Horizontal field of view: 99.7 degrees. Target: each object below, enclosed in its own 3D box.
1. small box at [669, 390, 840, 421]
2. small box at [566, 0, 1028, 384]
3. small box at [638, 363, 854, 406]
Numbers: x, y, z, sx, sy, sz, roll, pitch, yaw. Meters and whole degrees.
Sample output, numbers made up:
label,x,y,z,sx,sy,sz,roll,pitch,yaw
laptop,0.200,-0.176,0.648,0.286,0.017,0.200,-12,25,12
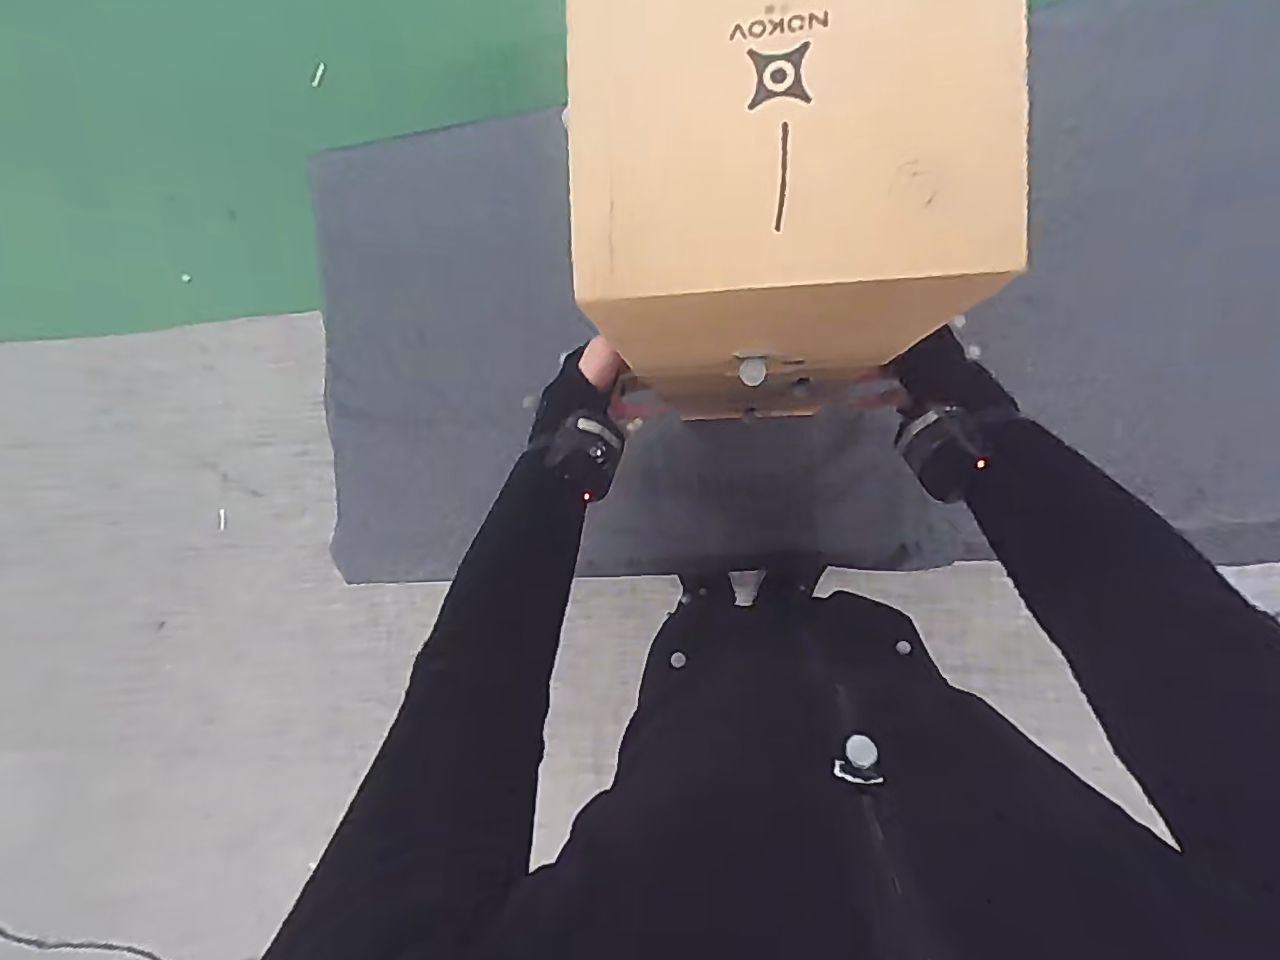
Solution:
label,x,y,z,sx,sy,sz,roll,pitch,yaw
small box,0.122,-0.158,0.599,0.168,0.176,0.179,-2,90,11
small box,0.064,-0.153,0.277,0.168,0.176,0.179,-1,91,10
small box,0.090,-0.158,0.440,0.168,0.176,0.179,-3,89,10
